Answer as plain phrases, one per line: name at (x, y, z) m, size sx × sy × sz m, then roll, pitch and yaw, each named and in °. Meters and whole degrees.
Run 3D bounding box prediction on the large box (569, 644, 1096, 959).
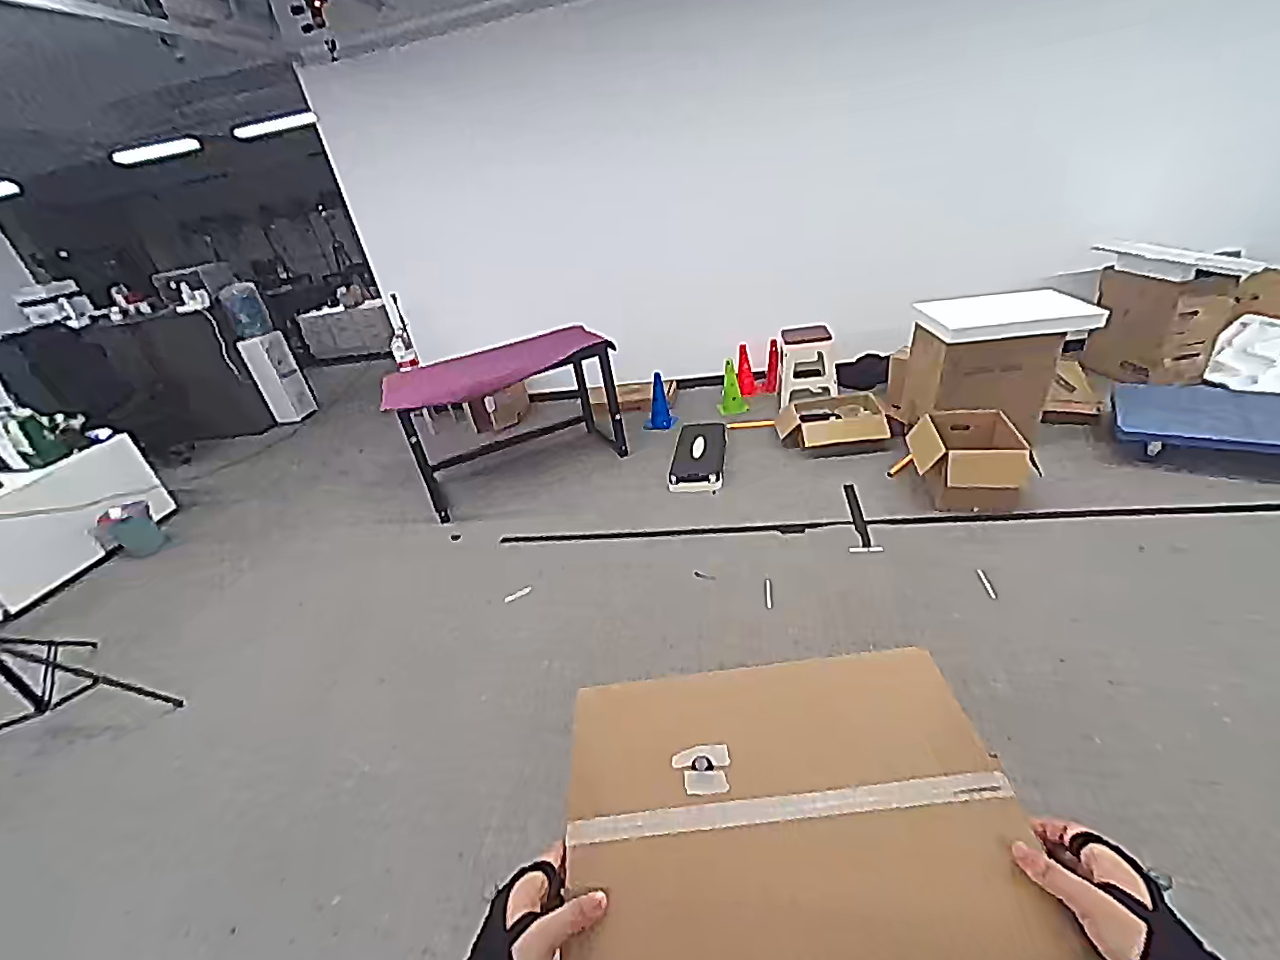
large box at (0.160, 0.429, 0.595) m, size 0.408 × 0.320 × 0.320 m, roll -10°, pitch 34°, yaw 4°
